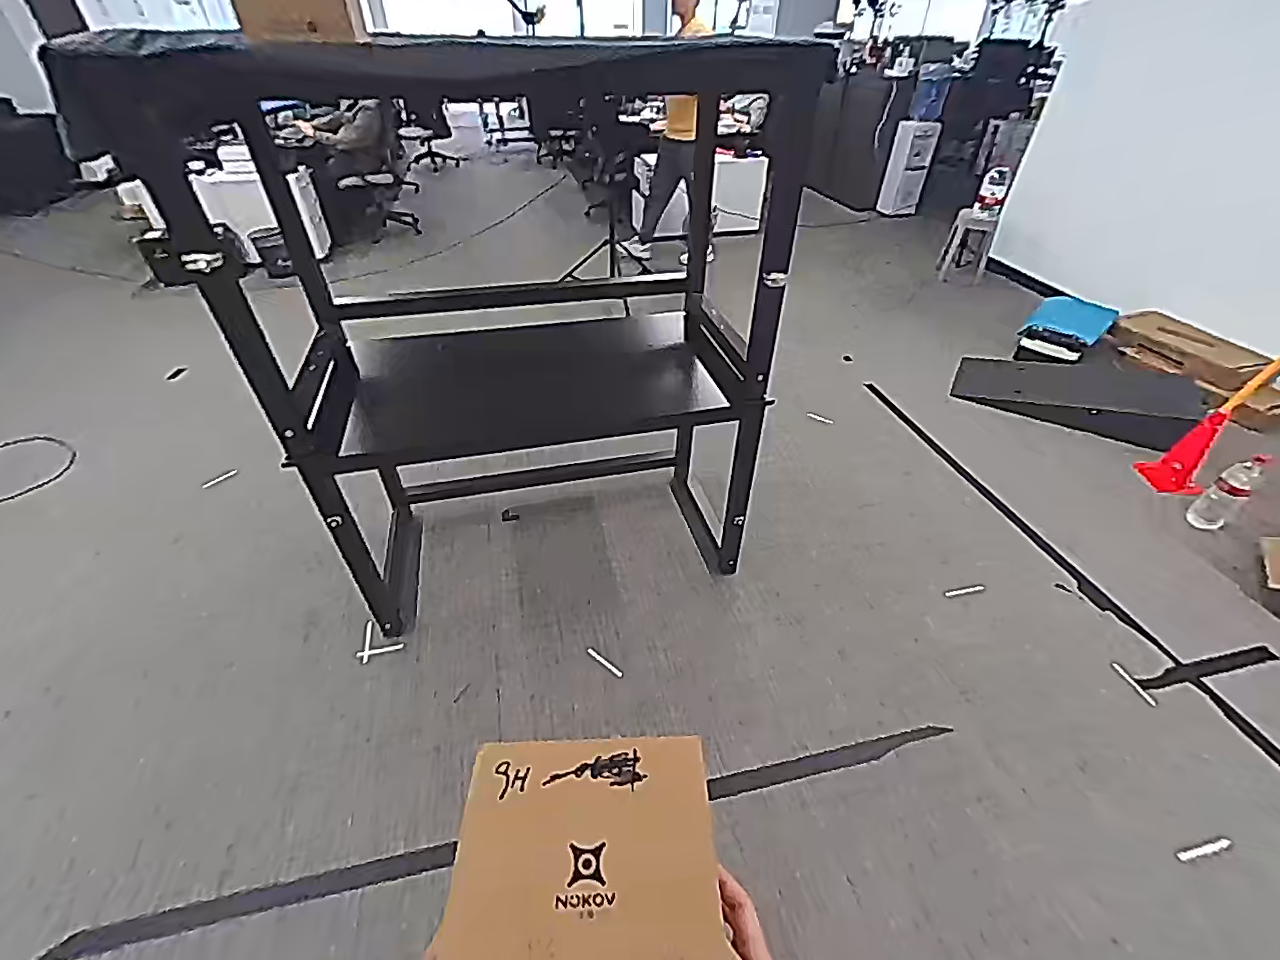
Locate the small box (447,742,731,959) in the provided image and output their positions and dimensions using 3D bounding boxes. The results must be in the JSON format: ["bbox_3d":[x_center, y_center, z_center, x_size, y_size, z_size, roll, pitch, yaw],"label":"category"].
[{"bbox_3d":[-0.030,0.312,0.386,0.168,0.176,0.179,0,40,-2],"label":"small box"}]
